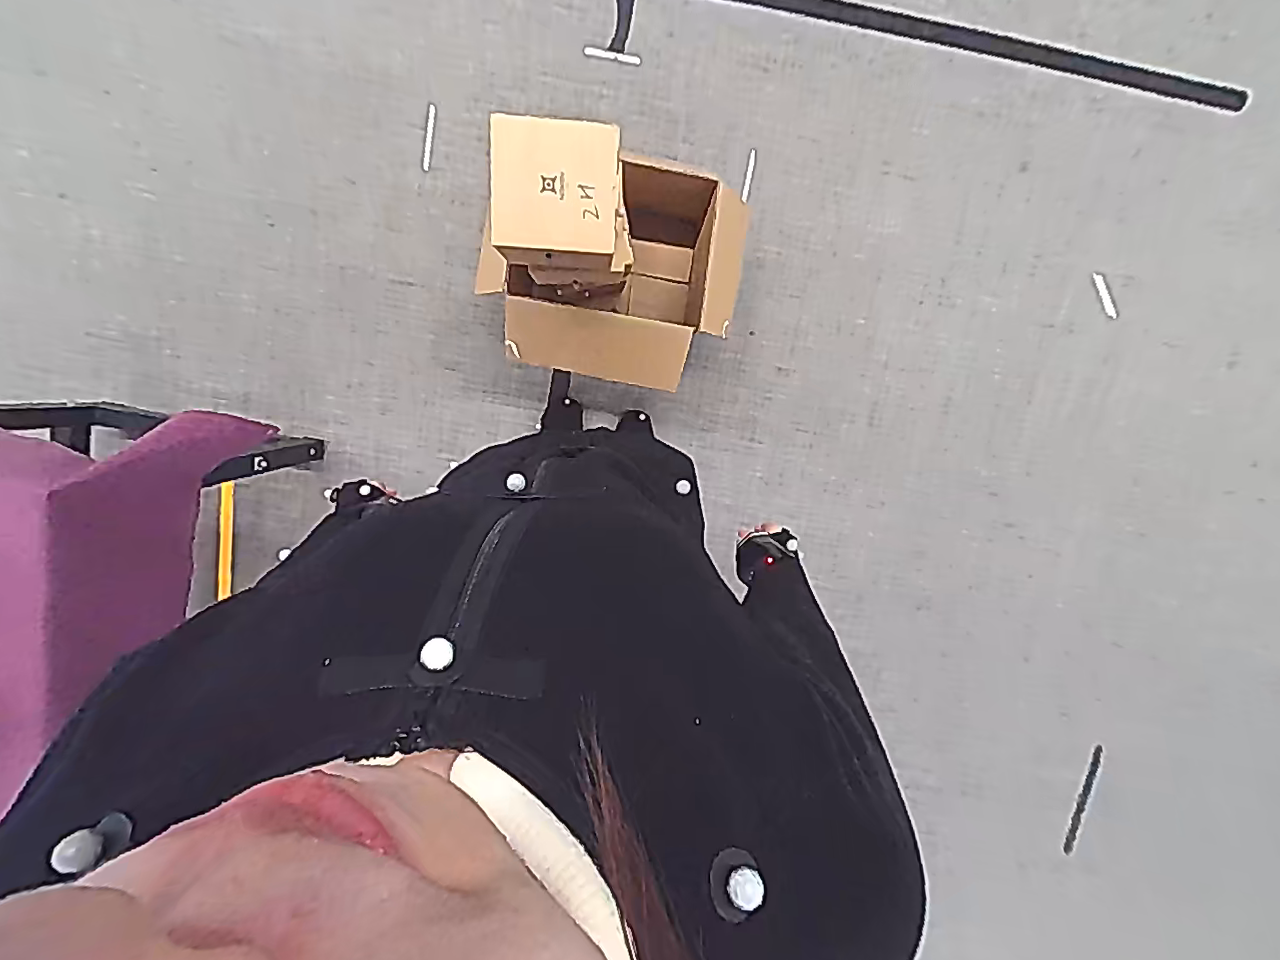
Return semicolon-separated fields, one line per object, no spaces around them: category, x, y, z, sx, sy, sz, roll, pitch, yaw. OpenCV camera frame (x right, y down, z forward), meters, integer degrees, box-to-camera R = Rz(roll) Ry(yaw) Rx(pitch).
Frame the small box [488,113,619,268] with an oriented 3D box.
small box;-0.125;-0.423;0.818;0.179;0.176;0.168;2;104;-6

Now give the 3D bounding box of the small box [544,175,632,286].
small box;-0.120;-0.515;1.136;0.179;0.176;0.168;-12;104;-3
